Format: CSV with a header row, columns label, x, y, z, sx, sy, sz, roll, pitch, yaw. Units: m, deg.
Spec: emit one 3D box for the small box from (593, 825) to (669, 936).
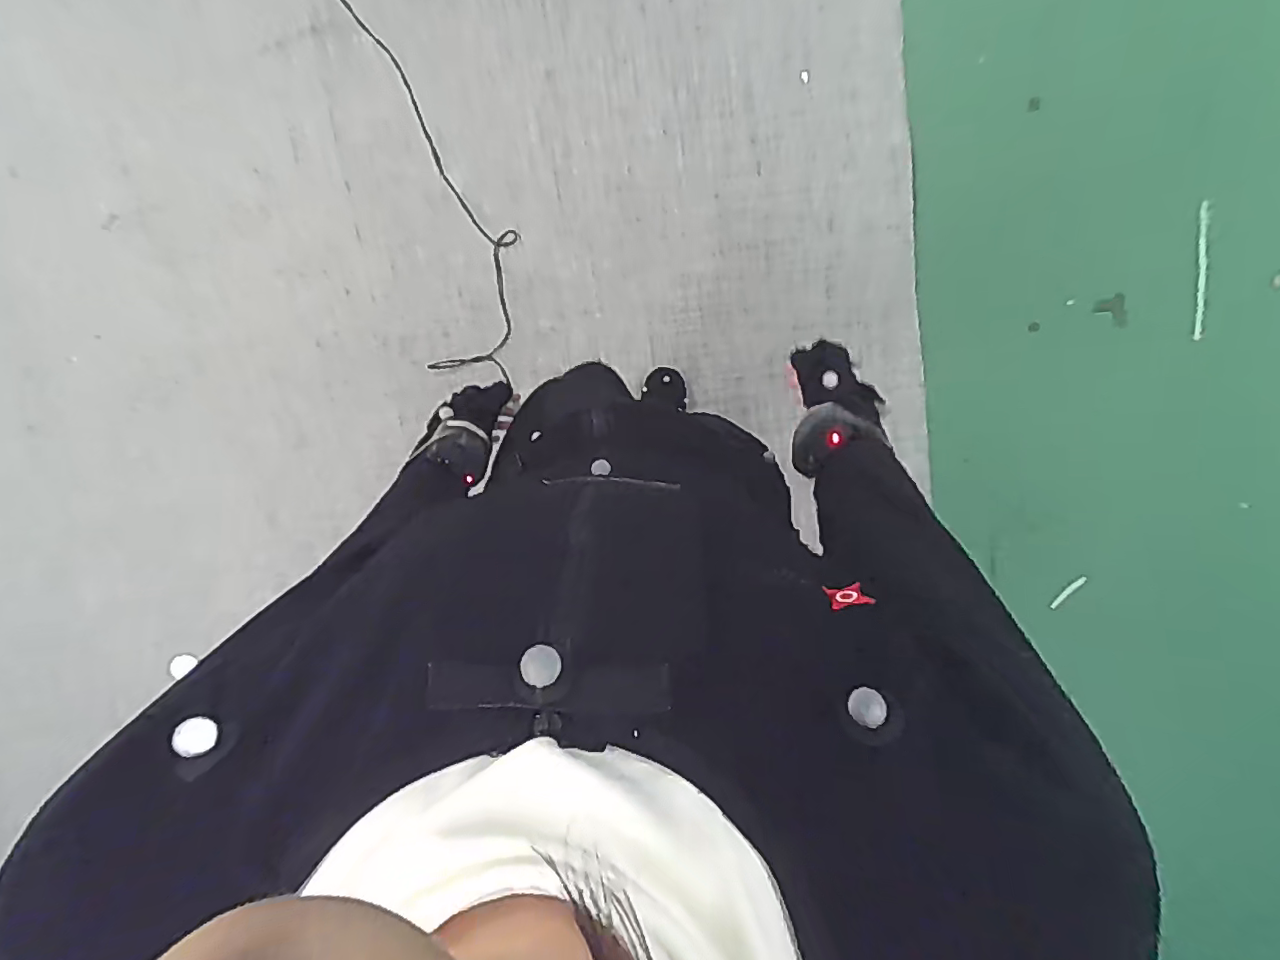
label,x,y,z,sx,sy,sz,roll,pitch,yaw
small box,-0.016,1.022,1.391,0.179,0.176,0.168,-4,101,3
